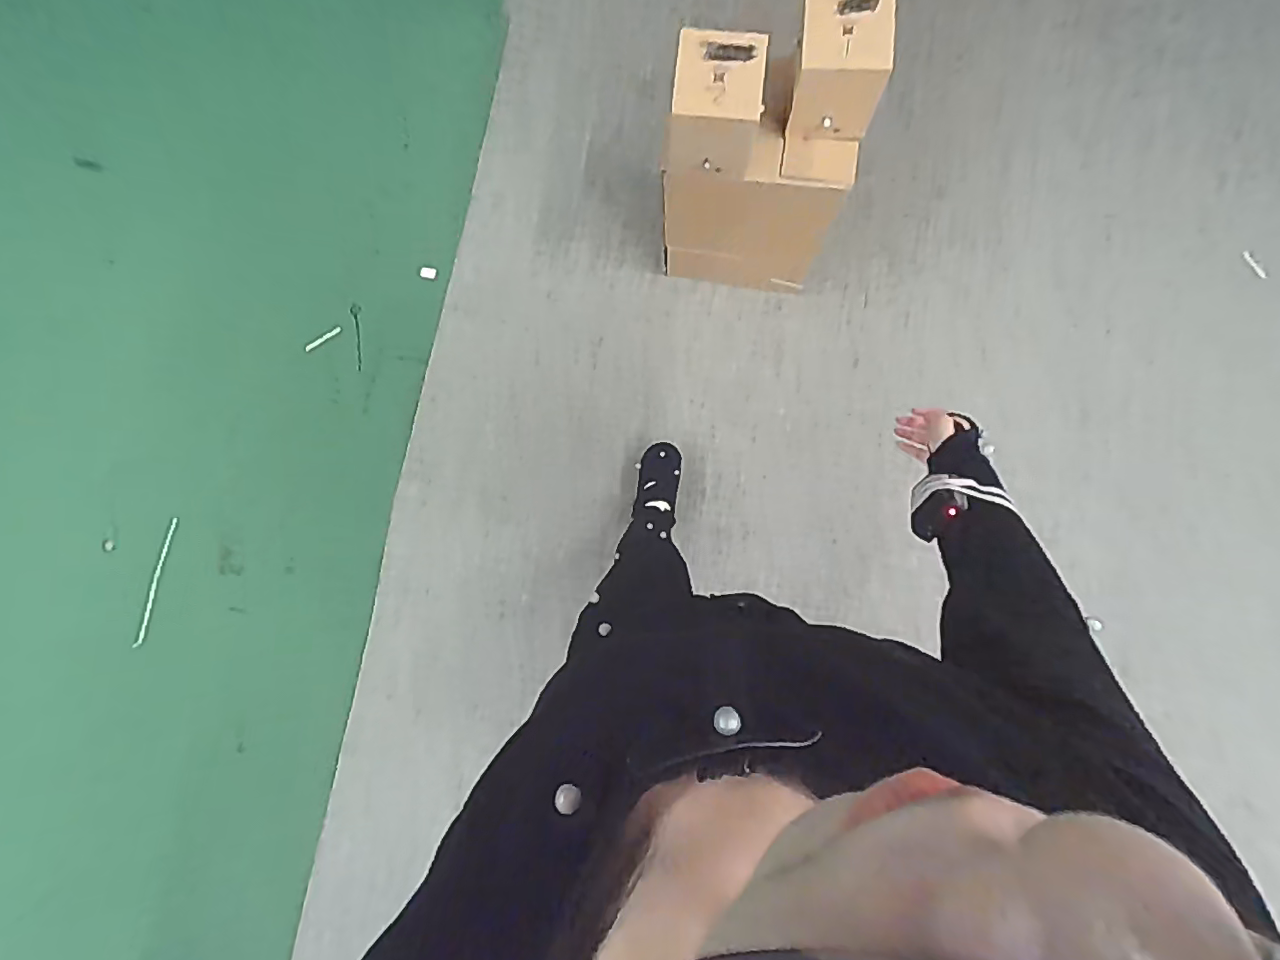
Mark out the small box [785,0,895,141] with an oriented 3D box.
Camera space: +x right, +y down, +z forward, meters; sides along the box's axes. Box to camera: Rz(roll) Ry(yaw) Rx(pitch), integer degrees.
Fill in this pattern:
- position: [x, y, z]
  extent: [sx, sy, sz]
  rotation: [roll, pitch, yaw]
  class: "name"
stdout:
- position: [0.391, -0.824, 1.082]
  extent: [0.168, 0.176, 0.179]
  rotation: [5, 84, 6]
  class: "small box"
